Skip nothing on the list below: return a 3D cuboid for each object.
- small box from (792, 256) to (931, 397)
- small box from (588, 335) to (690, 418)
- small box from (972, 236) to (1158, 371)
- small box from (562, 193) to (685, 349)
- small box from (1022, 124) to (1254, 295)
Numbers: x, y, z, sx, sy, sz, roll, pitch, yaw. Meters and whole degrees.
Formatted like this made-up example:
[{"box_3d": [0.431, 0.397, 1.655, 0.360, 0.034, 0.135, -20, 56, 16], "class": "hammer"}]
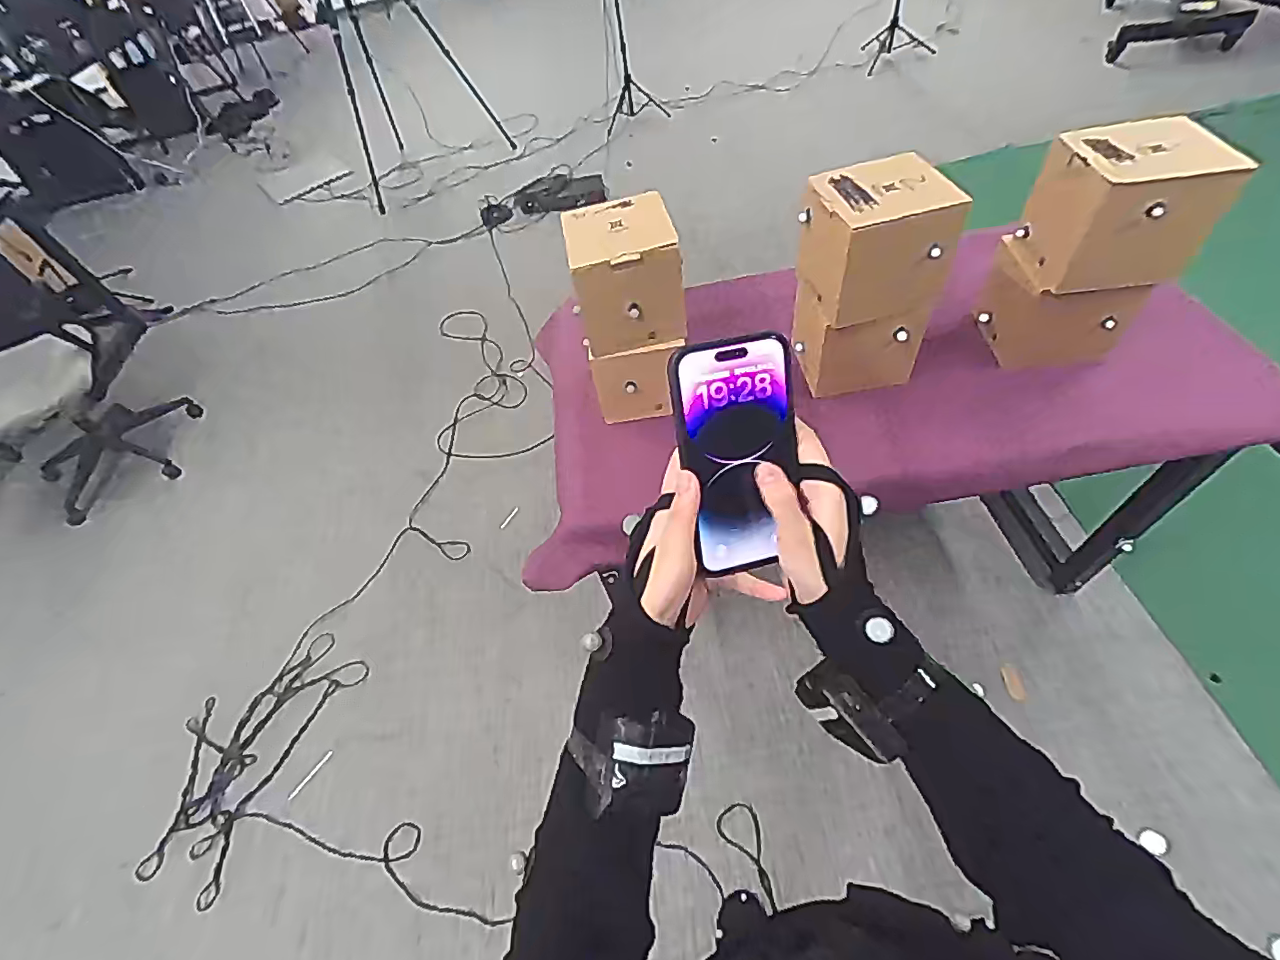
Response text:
[{"box_3d": [0.386, -0.272, 0.978, 0.179, 0.176, 0.168, -8, 53, 4], "class": "small box"}, {"box_3d": [0.000, -0.231, 1.019, 0.168, 0.176, 0.179, -8, 53, 4], "class": "small box"}, {"box_3d": [0.723, -0.310, 0.946, 0.179, 0.176, 0.168, -3, 53, 8], "class": "small box"}, {"box_3d": [-0.024, -0.335, 0.894, 0.168, 0.176, 0.179, -12, 53, 1], "class": "small box"}, {"box_3d": [0.710, -0.395, 0.807, 0.179, 0.176, 0.168, -3, 53, 7], "class": "small box"}]
